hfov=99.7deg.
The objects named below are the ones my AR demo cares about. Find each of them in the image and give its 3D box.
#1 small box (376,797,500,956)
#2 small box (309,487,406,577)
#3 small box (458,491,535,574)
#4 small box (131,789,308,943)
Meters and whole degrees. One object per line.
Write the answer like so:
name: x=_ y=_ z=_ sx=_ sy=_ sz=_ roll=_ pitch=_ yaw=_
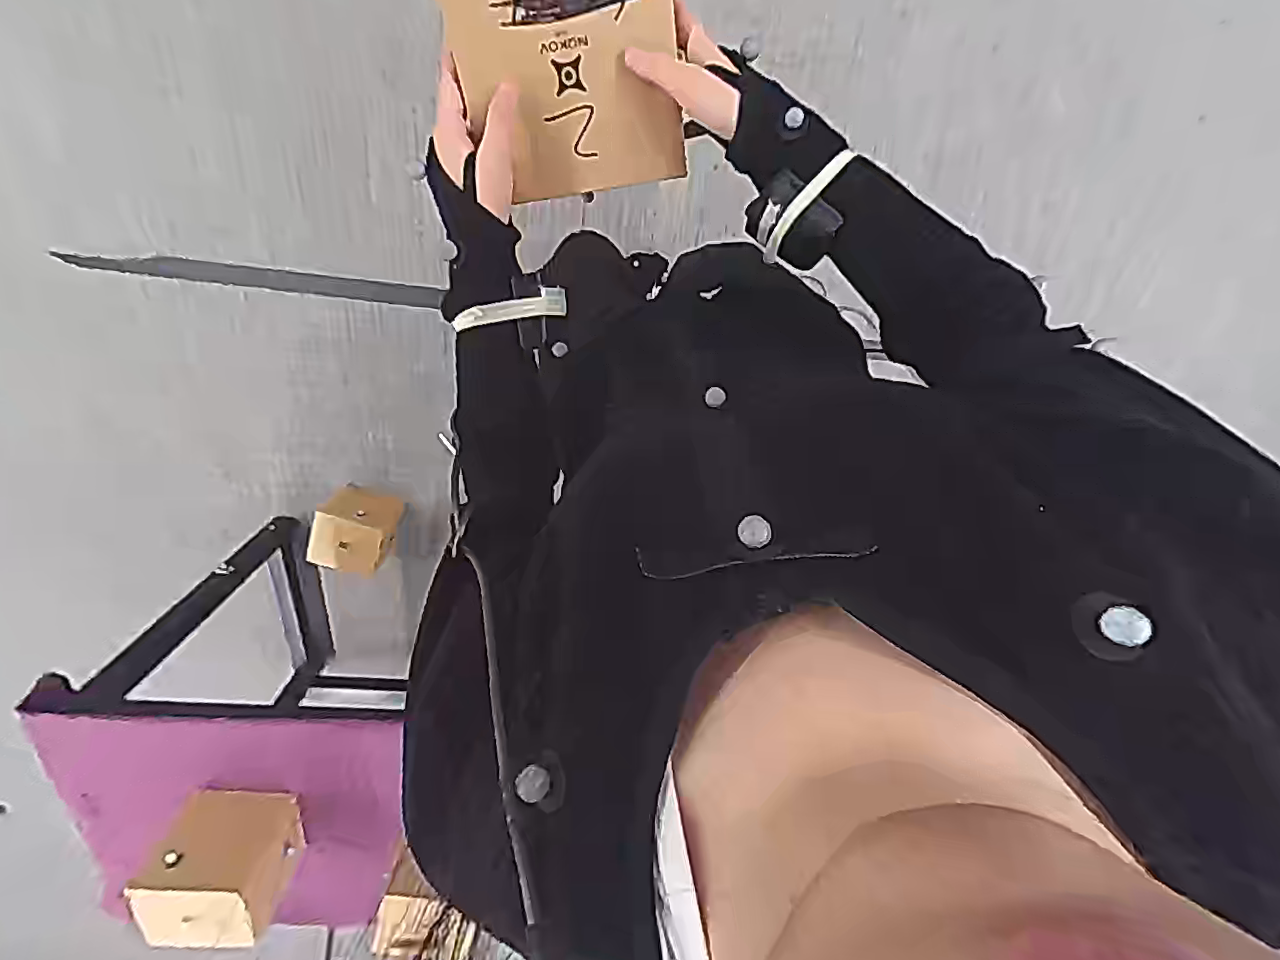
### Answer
small box: x=-0.368 y=0.734 z=1.008 sx=0.168 sy=0.176 sz=0.179 roll=15 pitch=113 yaw=-10
small box: x=-0.784 y=0.138 z=1.514 sx=0.179 sy=0.176 sz=0.168 roll=19 pitch=112 yaw=-12
small box: x=-0.405 y=0.143 z=1.535 sx=0.179 sy=0.176 sz=0.168 roll=8 pitch=114 yaw=-6
small box: x=-0.731 y=0.679 z=0.963 sx=0.179 sy=0.176 sz=0.168 roll=6 pitch=116 yaw=-6
